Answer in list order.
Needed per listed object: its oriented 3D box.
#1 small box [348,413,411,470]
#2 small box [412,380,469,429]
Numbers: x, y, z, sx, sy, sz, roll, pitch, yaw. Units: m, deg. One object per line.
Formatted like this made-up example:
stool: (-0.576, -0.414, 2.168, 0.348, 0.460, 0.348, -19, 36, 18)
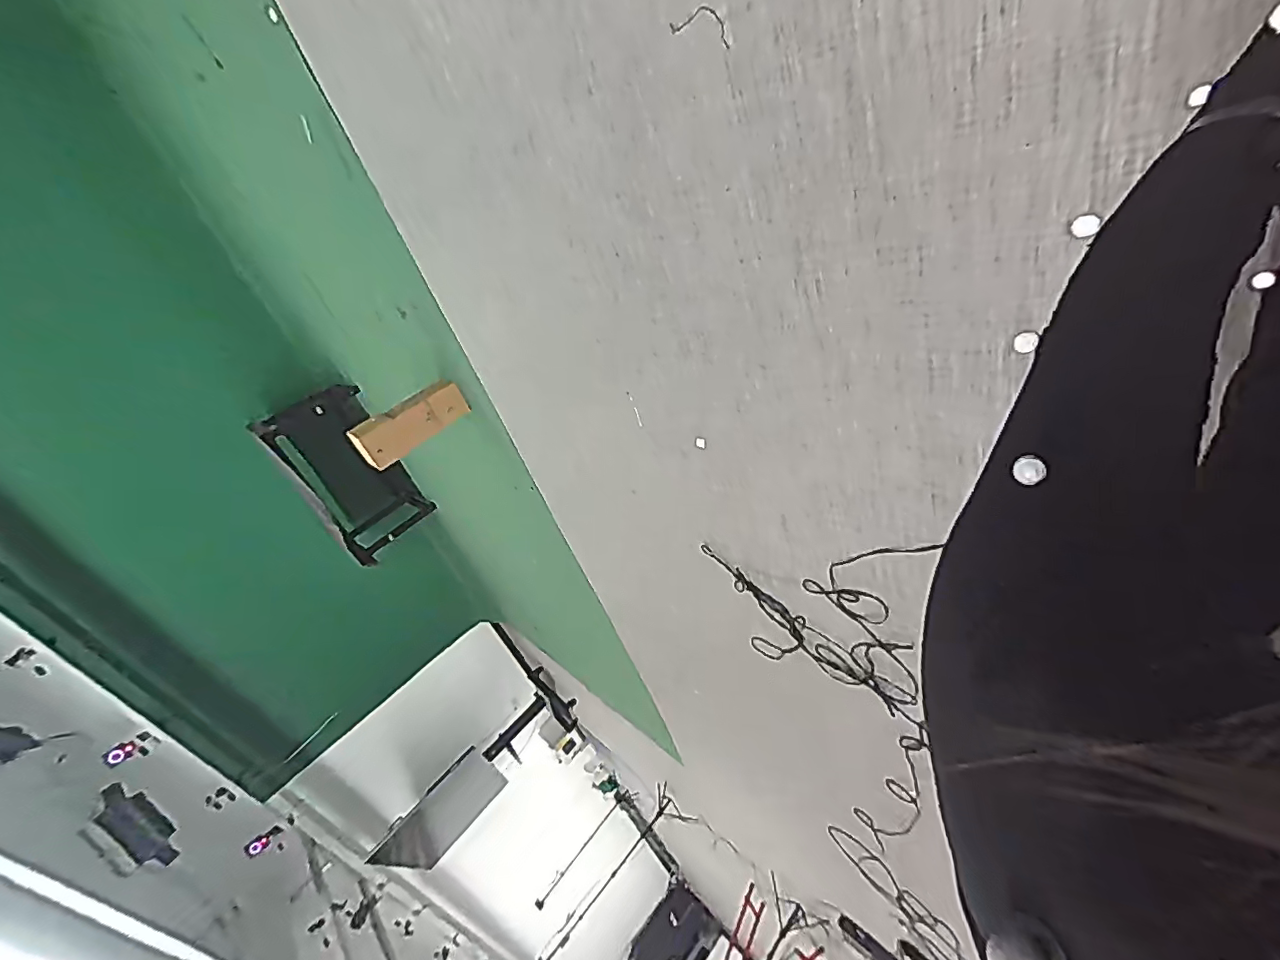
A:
small box: (-1.162, -0.174, 2.423, 0.168, 0.176, 0.179, 19, 140, 44)
small box: (-0.943, -0.364, 2.578, 0.179, 0.176, 0.168, 18, 139, 47)
